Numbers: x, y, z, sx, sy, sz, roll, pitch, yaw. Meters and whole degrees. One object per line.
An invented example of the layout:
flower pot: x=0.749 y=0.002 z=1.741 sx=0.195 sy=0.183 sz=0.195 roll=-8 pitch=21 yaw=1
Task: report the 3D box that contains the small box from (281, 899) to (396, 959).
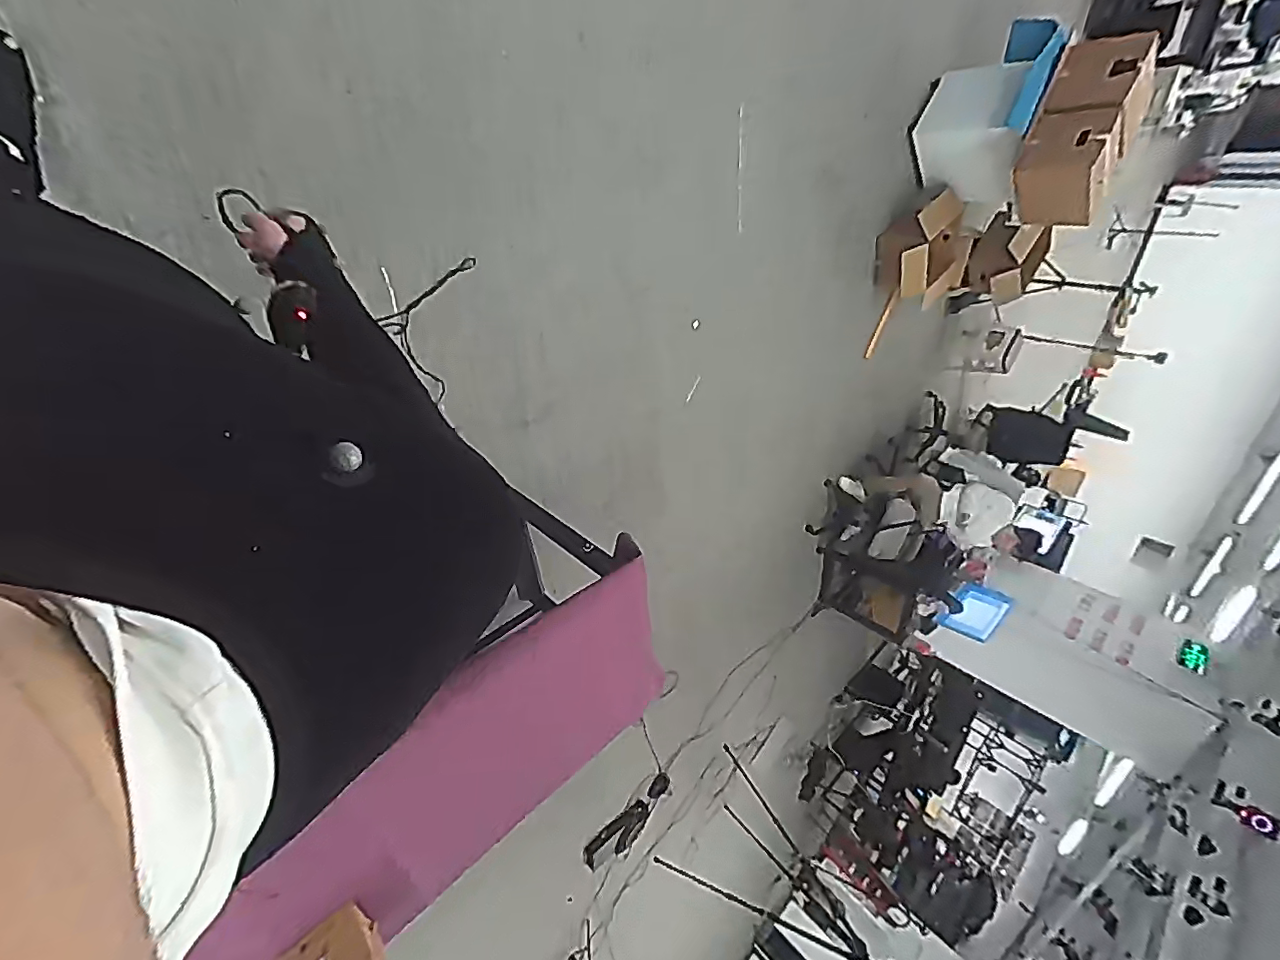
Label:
small box: x=-0.643 y=1.068 z=1.172 sx=0.168 sy=0.176 sz=0.179 roll=-30 pitch=129 yaw=-32
